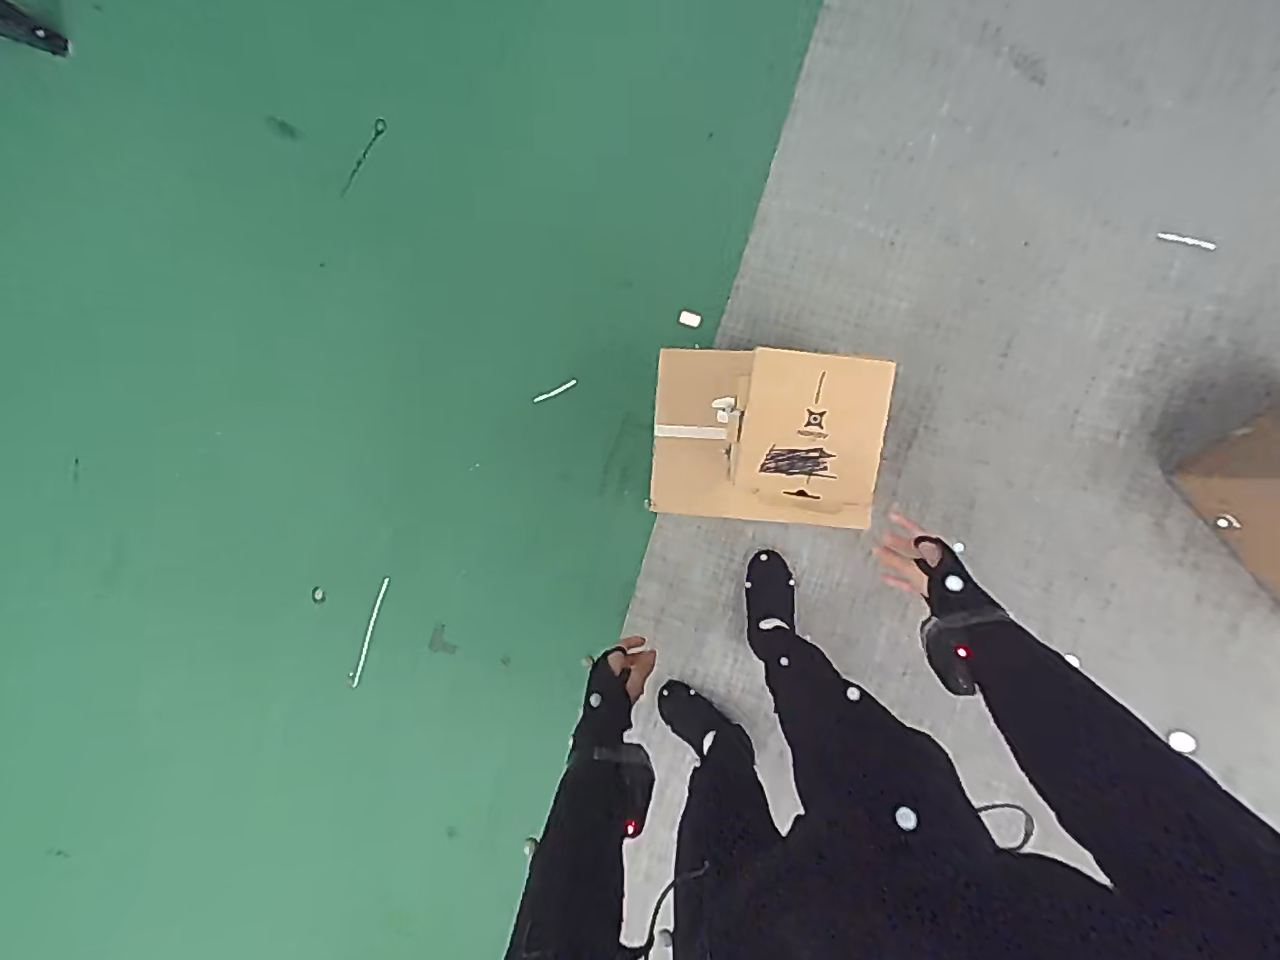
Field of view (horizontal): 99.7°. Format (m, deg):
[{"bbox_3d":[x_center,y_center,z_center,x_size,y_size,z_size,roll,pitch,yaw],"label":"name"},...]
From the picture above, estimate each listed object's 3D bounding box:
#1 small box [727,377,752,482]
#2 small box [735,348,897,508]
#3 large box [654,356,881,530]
[{"bbox_3d":[0.242,-0.069,0.892,0.179,0.176,0.168,7,94,9],"label":"small box"},{"bbox_3d":[0.225,-0.068,0.729,0.168,0.176,0.179,9,94,10],"label":"small box"},{"bbox_3d":[0.257,-0.076,1.138,0.408,0.320,0.320,4,91,11],"label":"large box"}]
